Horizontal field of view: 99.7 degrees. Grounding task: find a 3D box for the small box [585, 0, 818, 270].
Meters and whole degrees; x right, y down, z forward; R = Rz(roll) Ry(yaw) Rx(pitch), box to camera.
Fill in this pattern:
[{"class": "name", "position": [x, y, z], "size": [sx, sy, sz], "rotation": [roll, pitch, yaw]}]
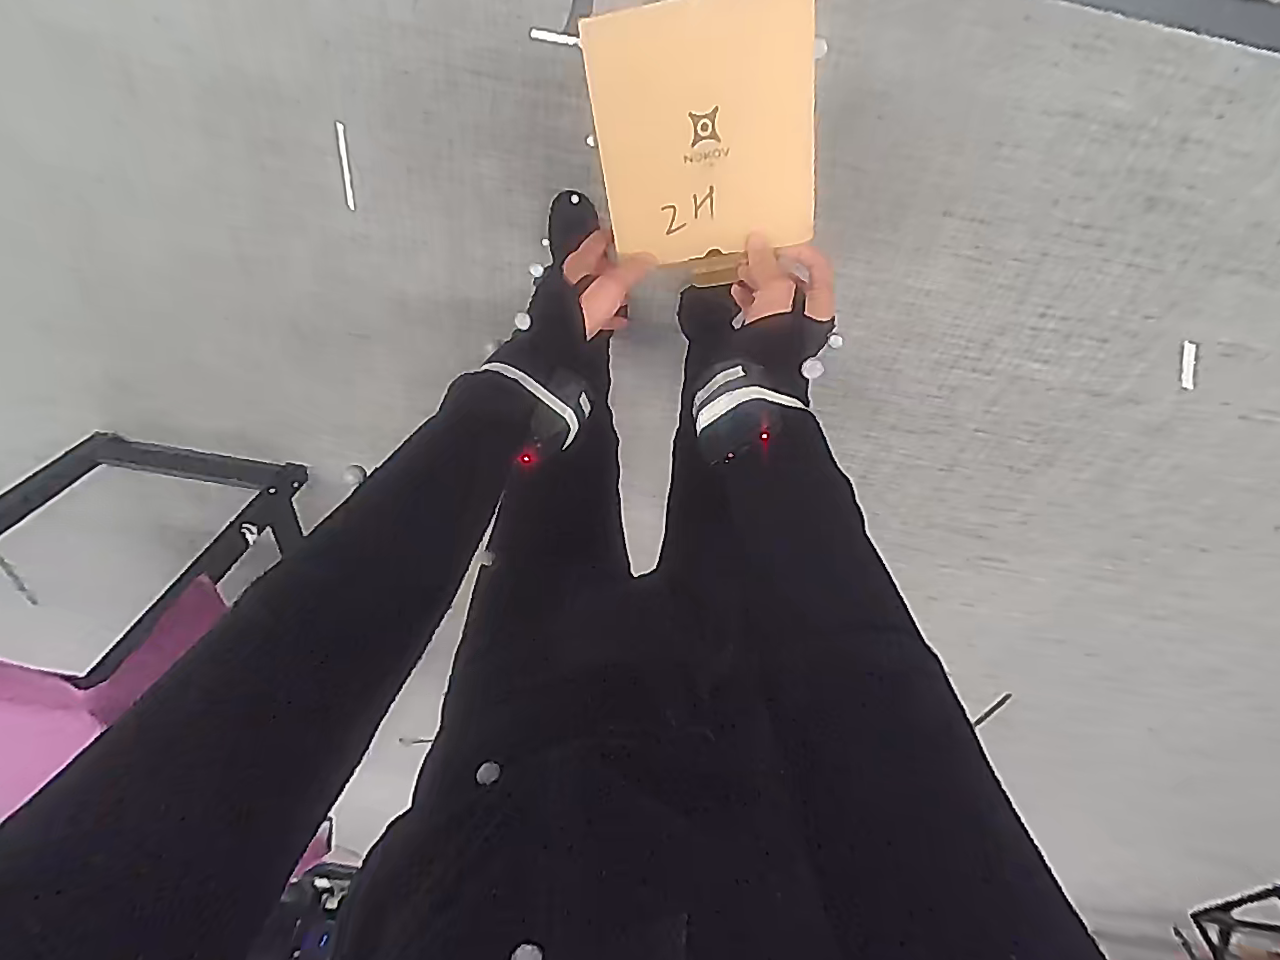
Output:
[{"class": "small box", "position": [0.058, -0.311, 0.483], "size": [0.168, 0.176, 0.179], "rotation": [-5, 128, 10]}]
